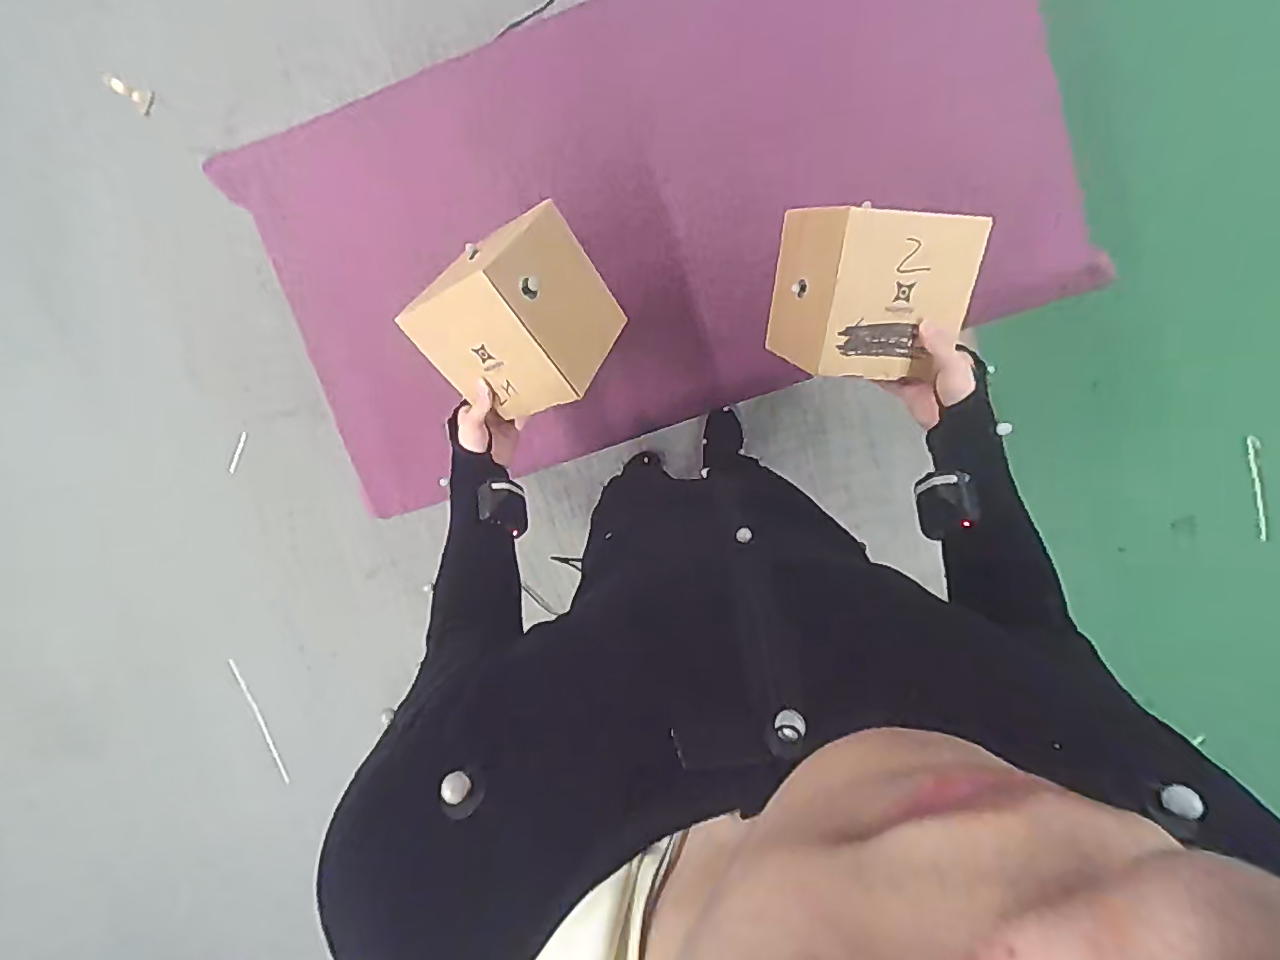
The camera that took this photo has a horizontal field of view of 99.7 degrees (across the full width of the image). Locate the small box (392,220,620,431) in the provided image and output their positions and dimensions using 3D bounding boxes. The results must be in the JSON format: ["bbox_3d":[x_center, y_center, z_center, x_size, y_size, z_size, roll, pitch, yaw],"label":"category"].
[{"bbox_3d":[-0.153,-0.191,0.667,0.168,0.176,0.179,-9,132,36],"label":"small box"}]
